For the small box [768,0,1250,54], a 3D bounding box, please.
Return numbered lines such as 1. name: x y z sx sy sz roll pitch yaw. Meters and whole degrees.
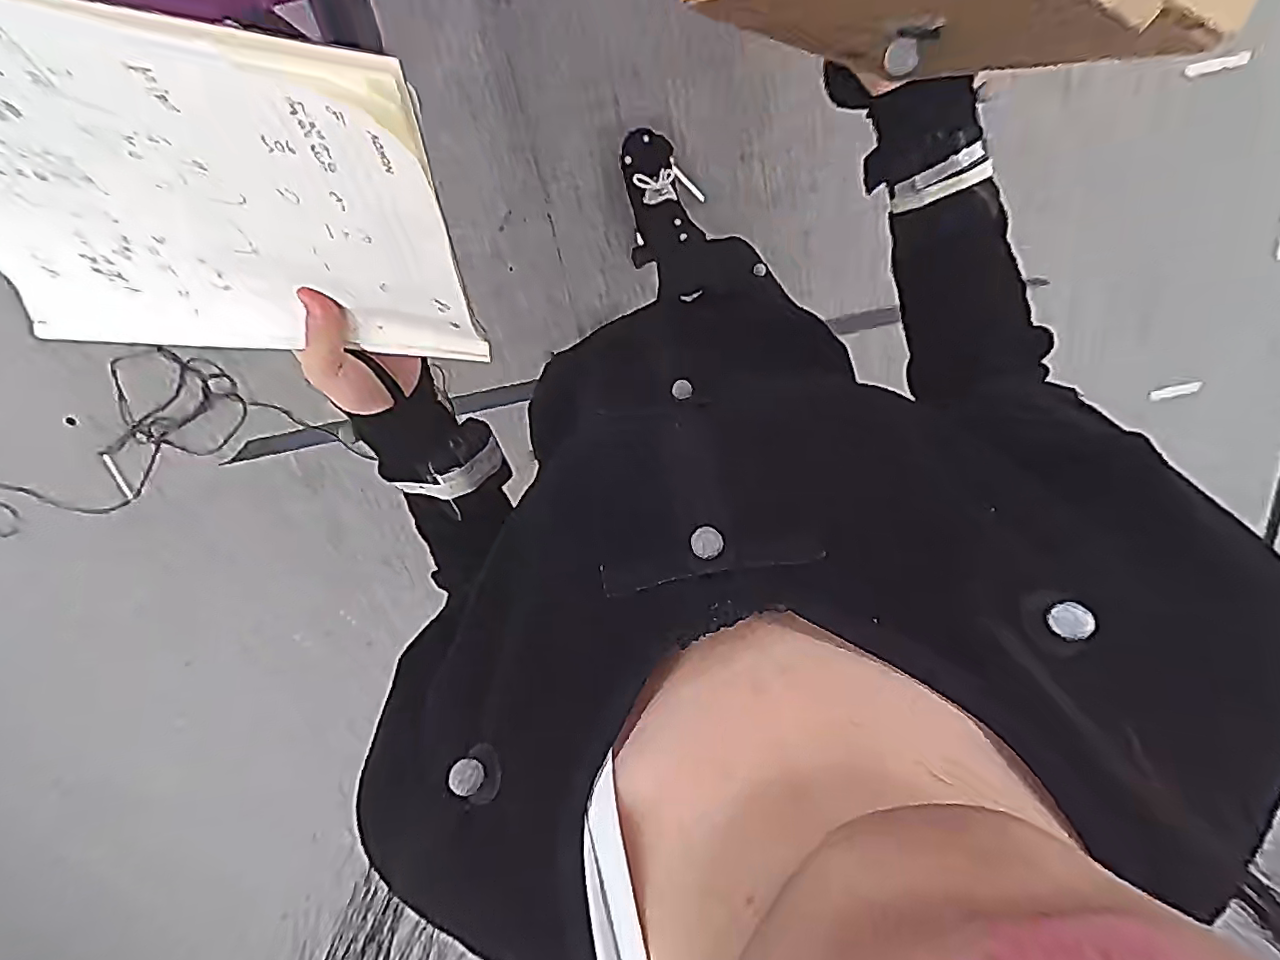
1. small box: 0.141 -0.285 0.200 0.168 0.176 0.179 -7 123 -27
